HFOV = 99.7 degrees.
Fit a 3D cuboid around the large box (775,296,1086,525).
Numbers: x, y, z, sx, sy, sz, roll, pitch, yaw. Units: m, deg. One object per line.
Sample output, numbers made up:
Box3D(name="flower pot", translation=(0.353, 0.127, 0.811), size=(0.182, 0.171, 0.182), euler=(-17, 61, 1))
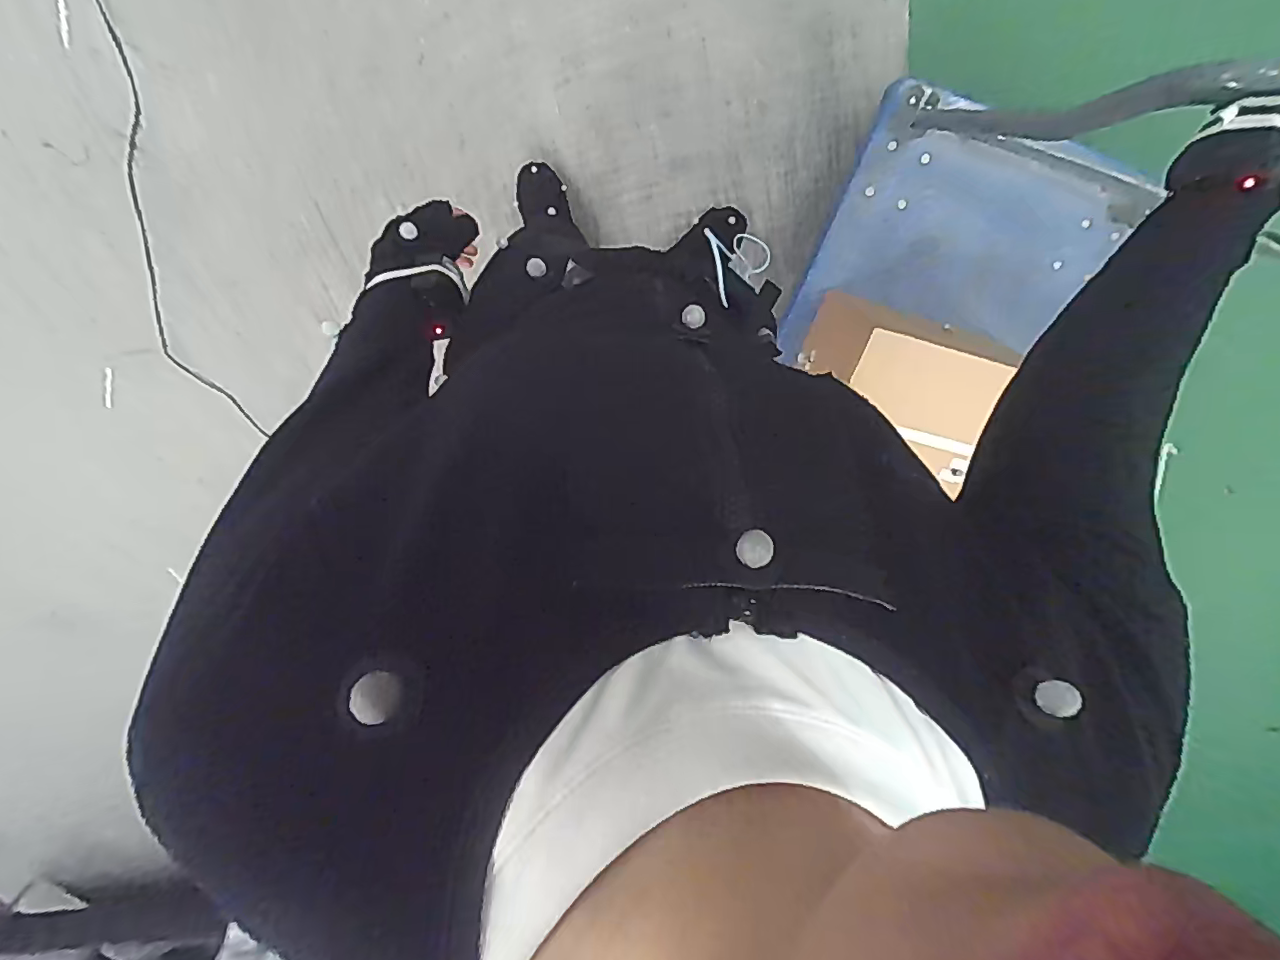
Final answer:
Box3D(name="large box", translation=(0.538, -0.153, 1.105), size=(0.408, 0.320, 0.320), euler=(13, 121, -6))
